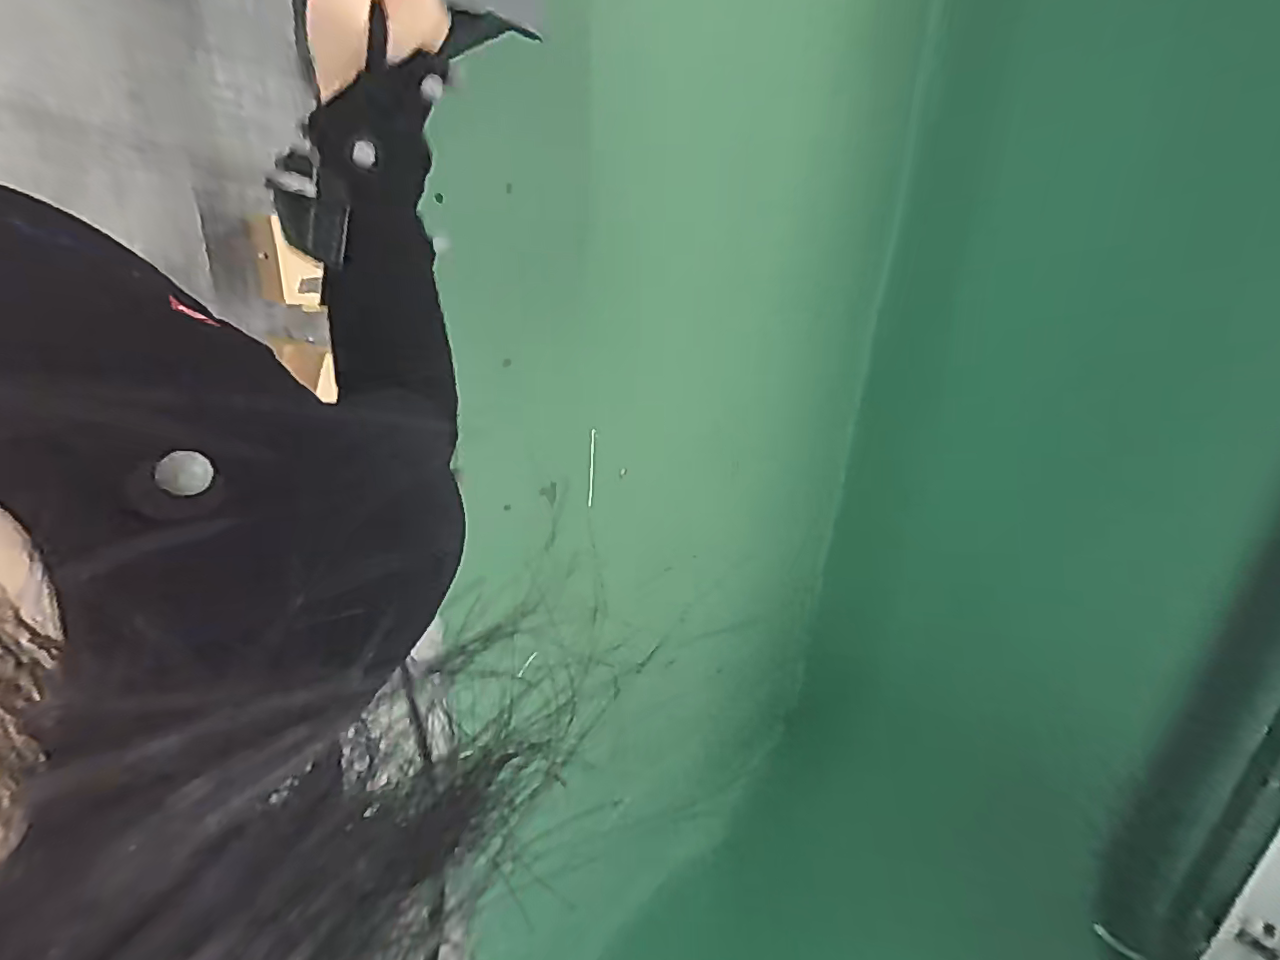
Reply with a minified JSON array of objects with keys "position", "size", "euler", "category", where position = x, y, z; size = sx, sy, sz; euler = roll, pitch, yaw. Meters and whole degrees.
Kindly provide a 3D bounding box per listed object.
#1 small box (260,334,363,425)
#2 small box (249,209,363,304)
[{"position":[-0.770,-0.234,1.264],"size":[0.168,0.176,0.179],"euler":[-3,108,-47],"category":"small box"},{"position":[-0.735,-0.487,1.193],"size":[0.168,0.176,0.179],"euler":[-17,117,-44],"category":"small box"}]
